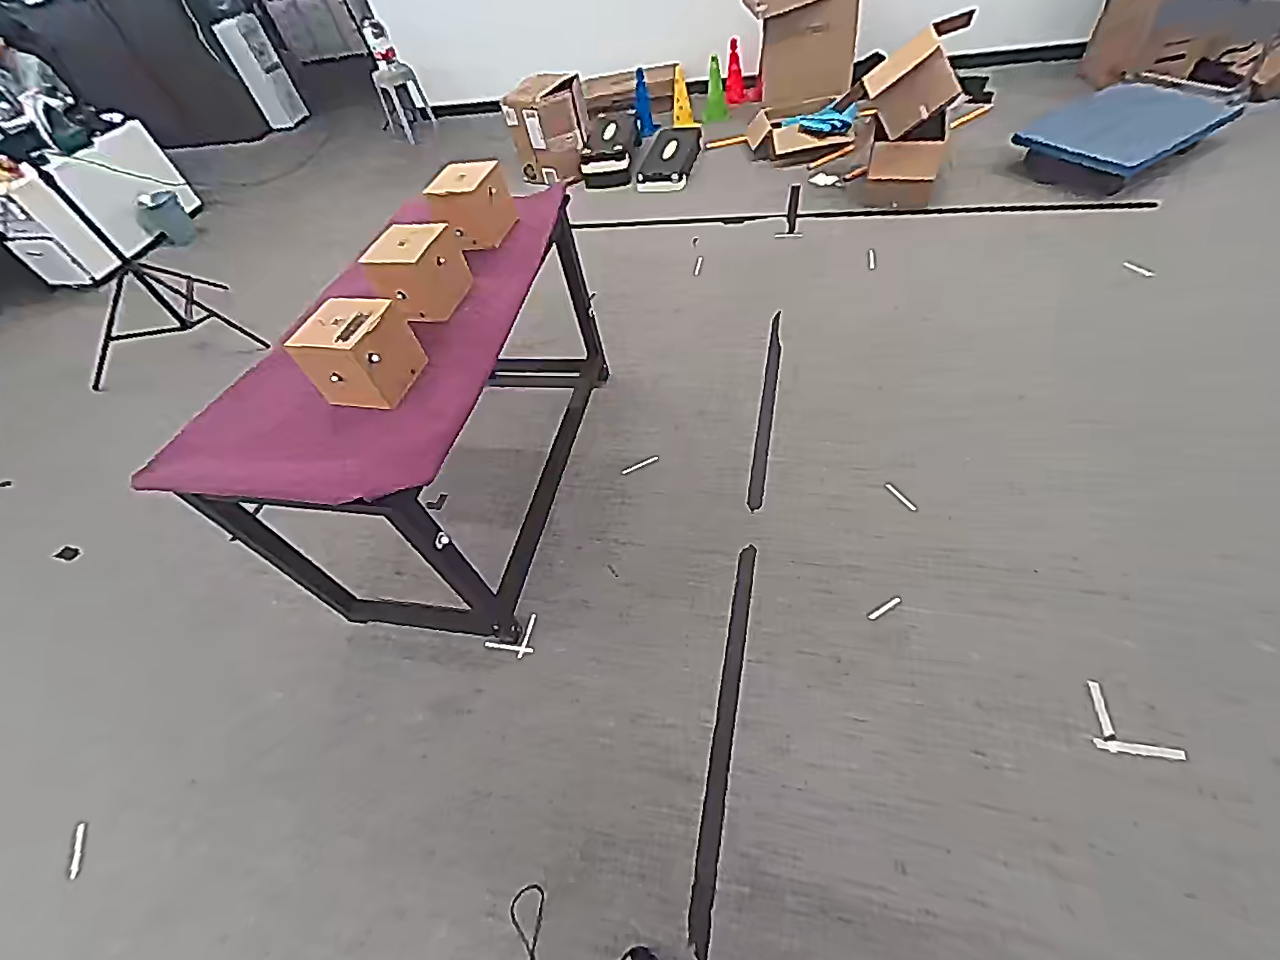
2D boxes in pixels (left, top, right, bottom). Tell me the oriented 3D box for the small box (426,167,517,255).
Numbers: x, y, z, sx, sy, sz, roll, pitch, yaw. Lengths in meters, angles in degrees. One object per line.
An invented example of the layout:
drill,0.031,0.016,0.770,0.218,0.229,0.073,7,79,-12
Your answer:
small box,-0.476,-0.775,1.561,0.168,0.176,0.179,6,54,17

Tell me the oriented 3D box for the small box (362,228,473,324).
small box,-0.550,-0.512,1.366,0.168,0.176,0.179,7,53,15
